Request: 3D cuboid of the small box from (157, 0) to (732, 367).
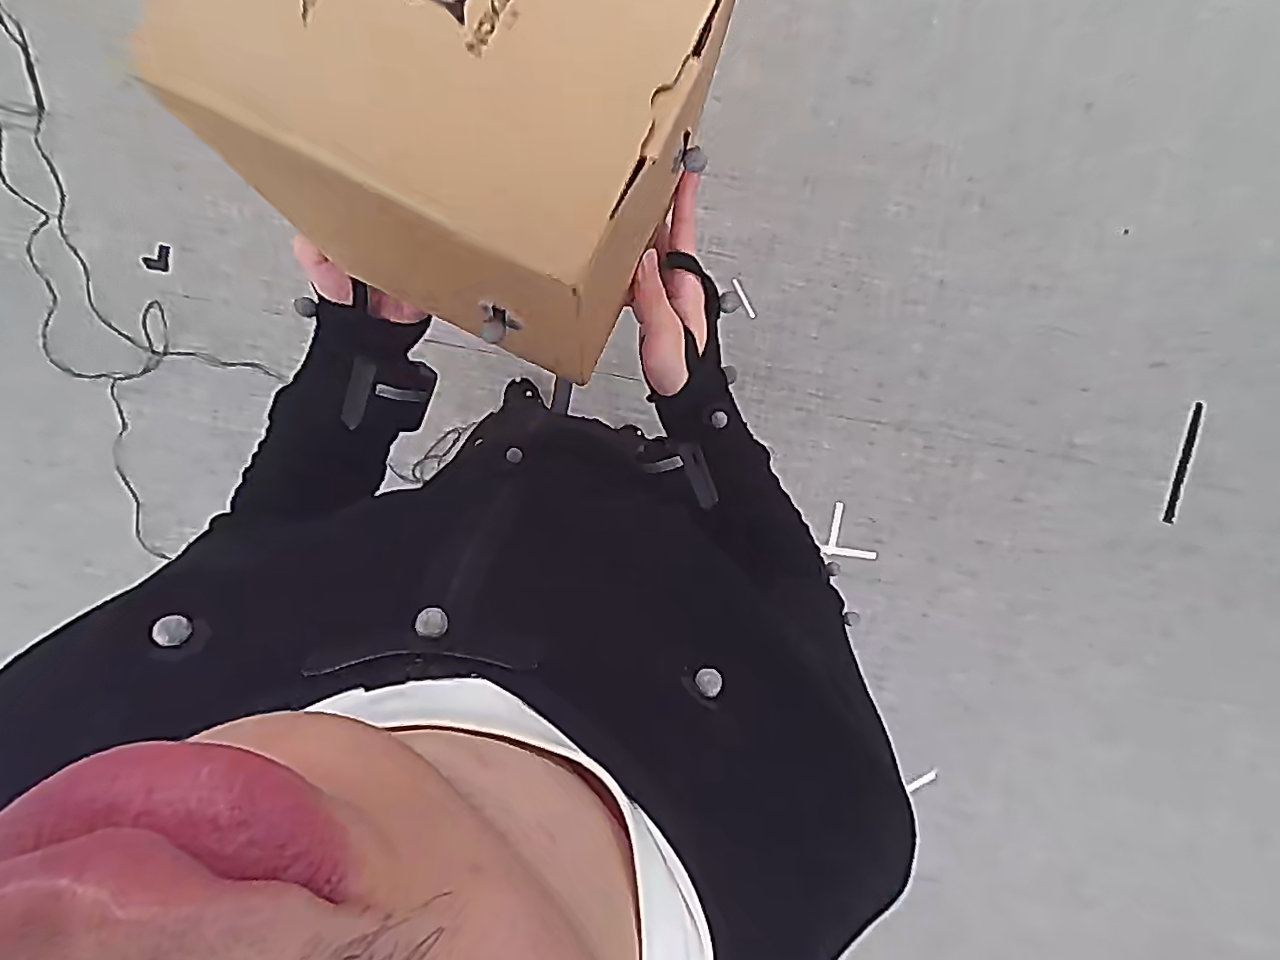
[{"bbox_3d":[-0.076,-0.177,0.291,0.179,0.176,0.168,25,86,-4],"label":"small box"}]
